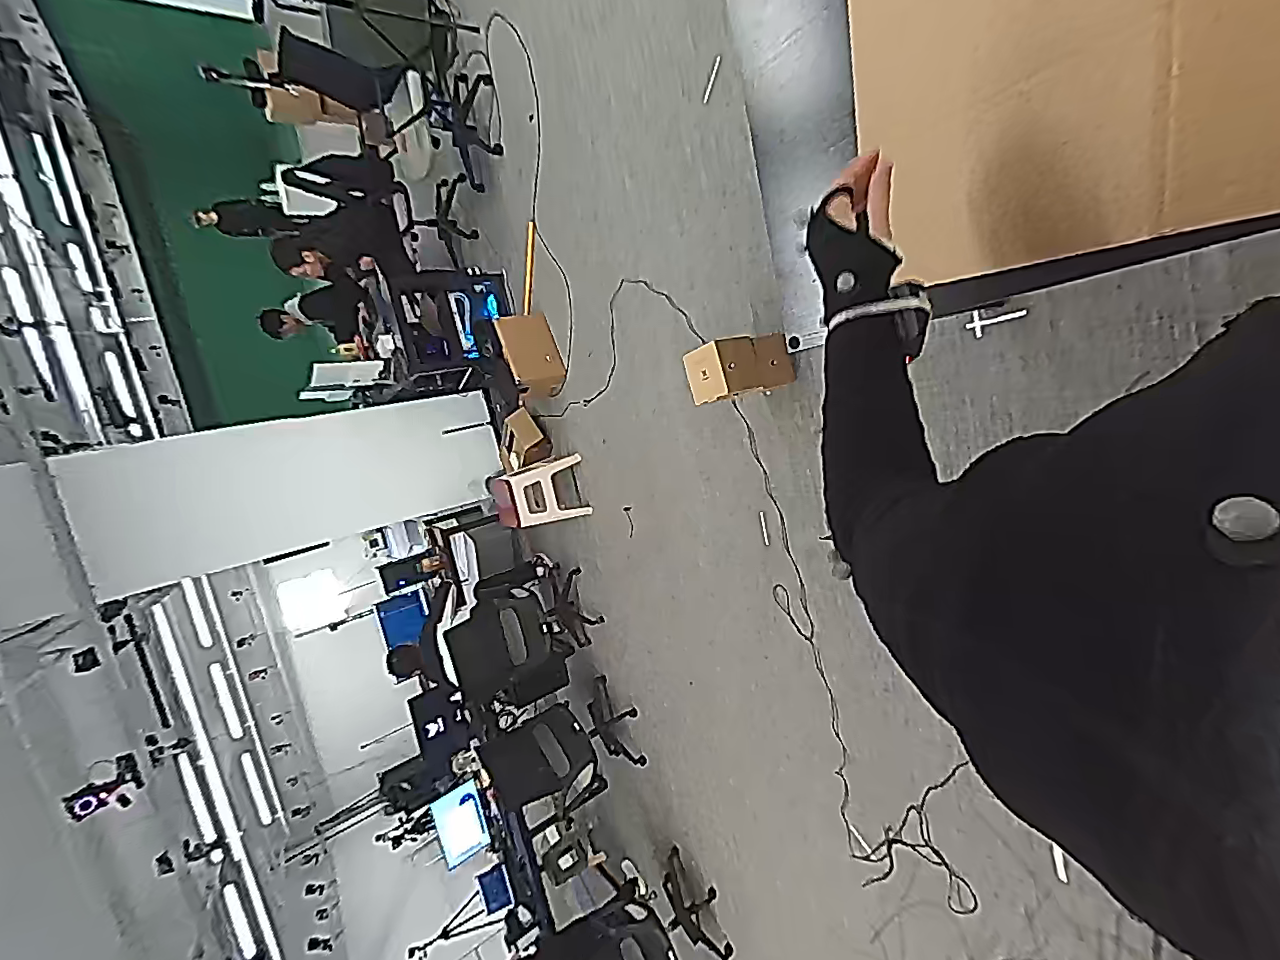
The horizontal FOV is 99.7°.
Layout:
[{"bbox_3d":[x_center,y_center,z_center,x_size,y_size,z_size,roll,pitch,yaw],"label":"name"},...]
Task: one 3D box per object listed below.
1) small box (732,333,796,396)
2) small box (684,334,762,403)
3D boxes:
[{"bbox_3d":[0.411,-0.402,1.871,0.168,0.176,0.179,-7,98,57],"label":"small box"},{"bbox_3d":[0.278,-0.369,1.784,0.168,0.176,0.179,-14,91,56],"label":"small box"}]
